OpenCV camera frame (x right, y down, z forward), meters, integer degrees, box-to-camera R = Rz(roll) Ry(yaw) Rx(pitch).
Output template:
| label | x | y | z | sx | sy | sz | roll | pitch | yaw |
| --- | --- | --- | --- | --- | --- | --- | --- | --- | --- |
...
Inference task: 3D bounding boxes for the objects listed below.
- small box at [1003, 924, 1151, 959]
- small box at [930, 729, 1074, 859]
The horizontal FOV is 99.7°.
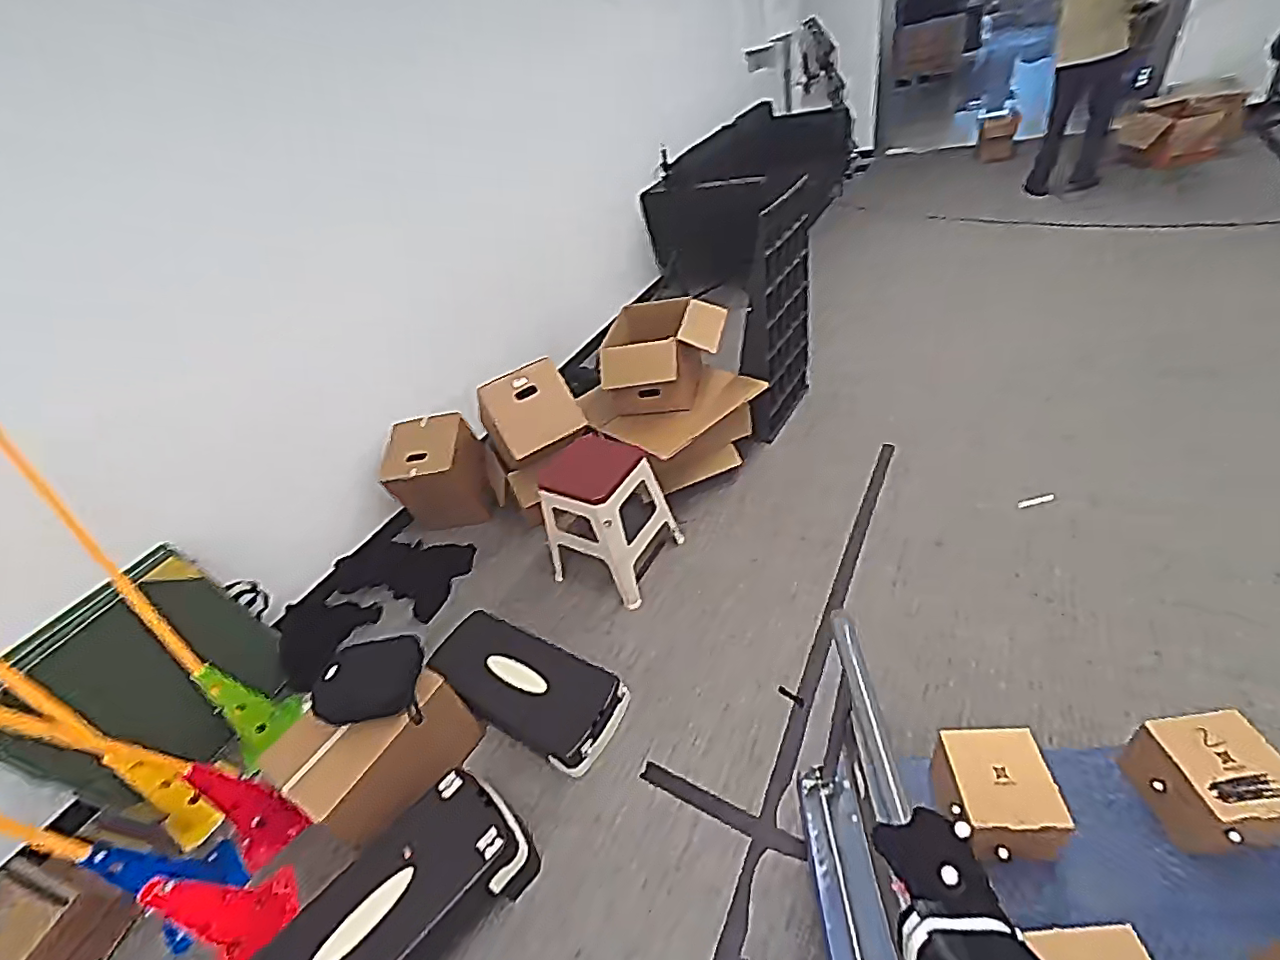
| label | x | y | z | sx | sy | sz | roll | pitch | yaw |
| --- | --- | --- | --- | --- | --- | --- | --- | --- | --- |
| small box | 0.688 | 0.808 | 0.818 | 0.168 | 0.176 | 0.179 | -10 | 38 | 6 |
| small box | 0.691 | 0.613 | 1.058 | 0.168 | 0.176 | 0.179 | -7 | 40 | 10 |
